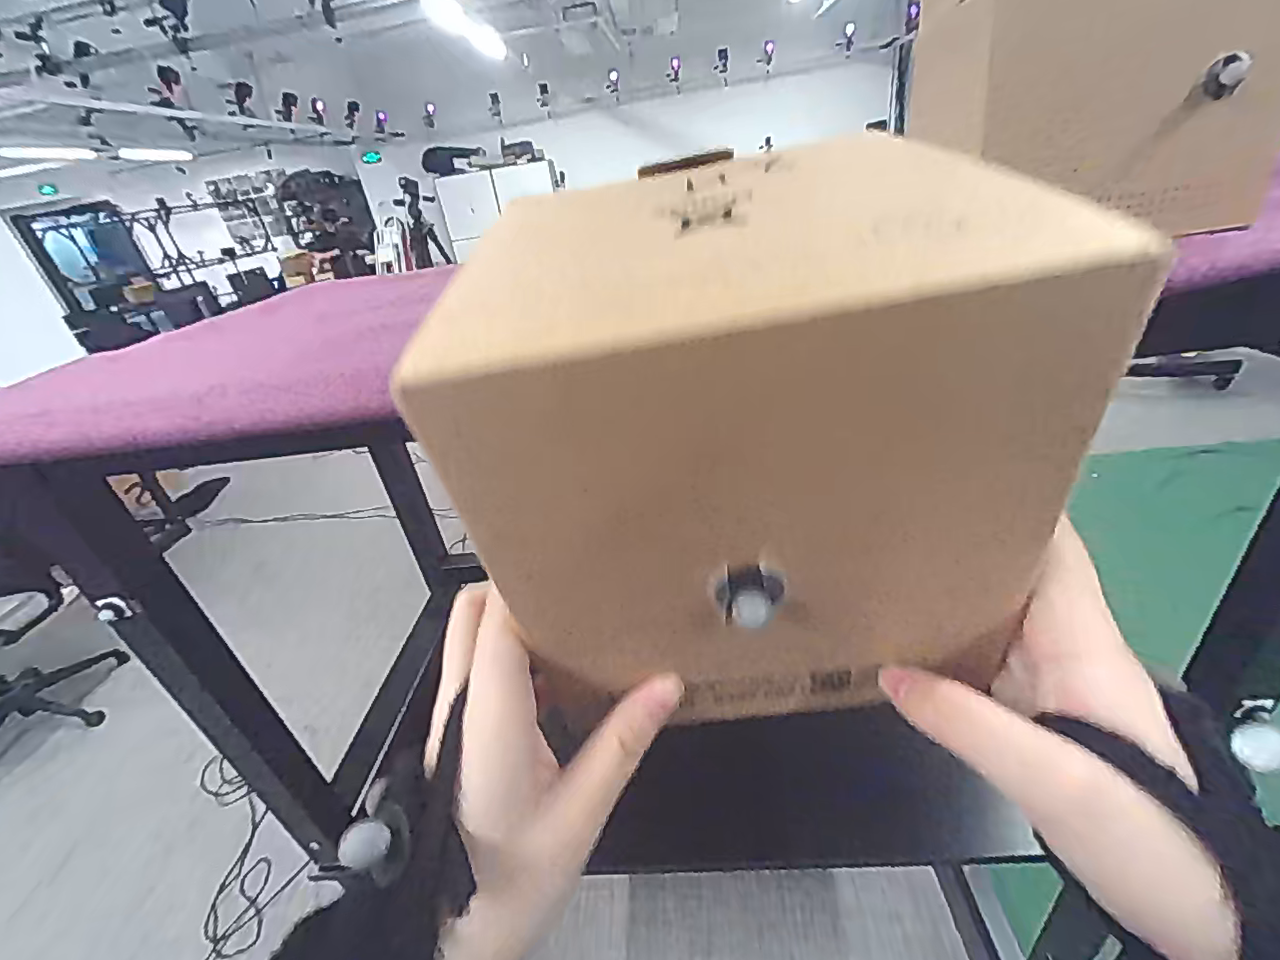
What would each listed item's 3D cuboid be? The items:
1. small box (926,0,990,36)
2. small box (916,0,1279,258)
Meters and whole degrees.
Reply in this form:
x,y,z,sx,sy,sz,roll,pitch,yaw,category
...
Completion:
x,y,z,sx,sy,sz,roll,pitch,yaw,category
0.297,-0.411,0.347,0.179,0.176,0.168,-2,27,14,small box
0.324,-0.265,0.414,0.179,0.176,0.168,-5,26,11,small box
